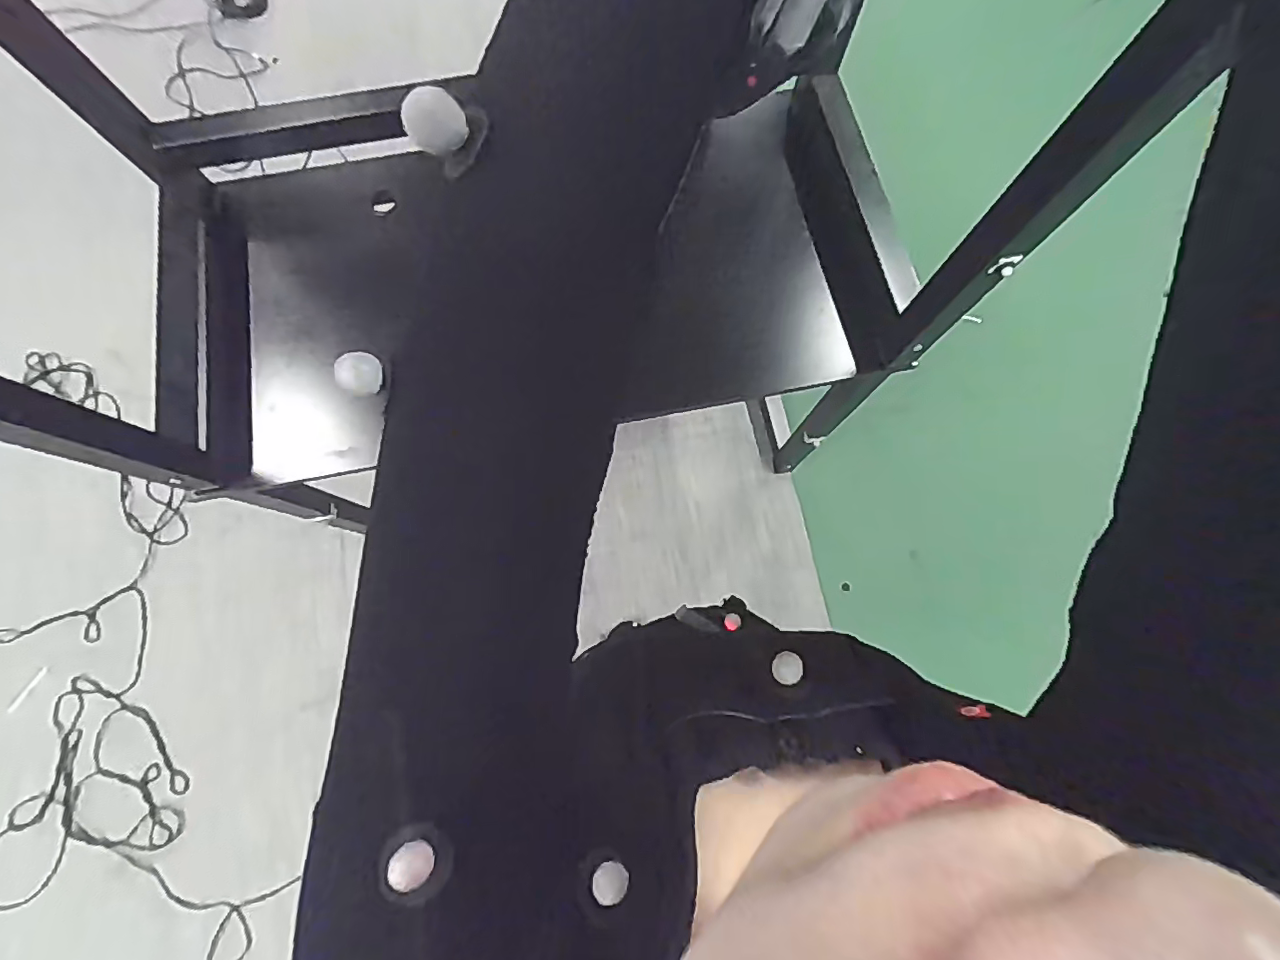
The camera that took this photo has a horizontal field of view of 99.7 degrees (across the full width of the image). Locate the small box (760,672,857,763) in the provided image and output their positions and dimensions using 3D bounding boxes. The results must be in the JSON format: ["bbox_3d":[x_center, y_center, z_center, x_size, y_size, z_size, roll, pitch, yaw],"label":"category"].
[{"bbox_3d":[0.410,0.588,1.357,0.179,0.176,0.168,-12,76,-2],"label":"small box"}]
